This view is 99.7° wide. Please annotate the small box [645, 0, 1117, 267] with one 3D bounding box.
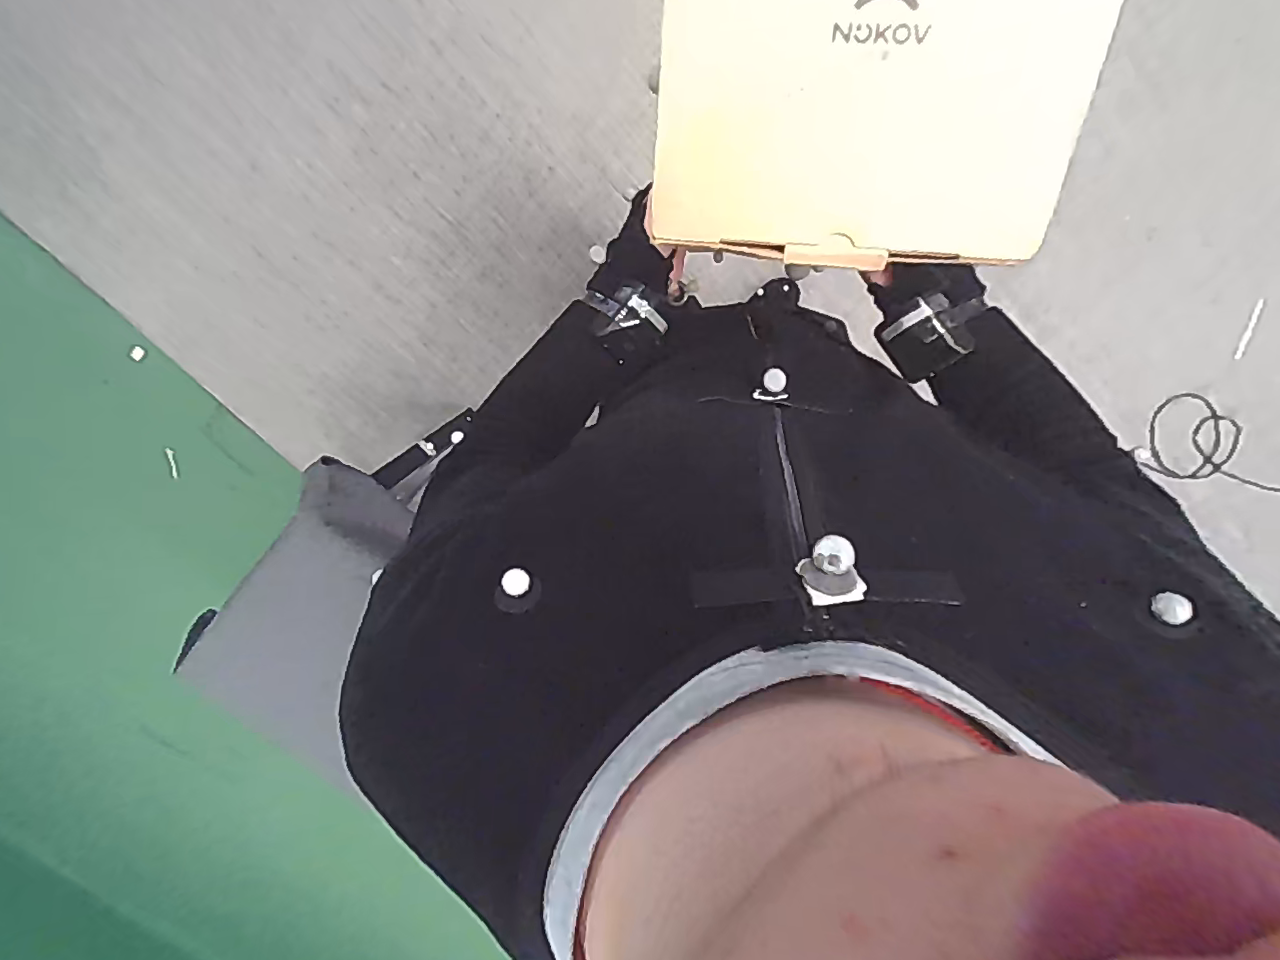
[{"bbox_3d":[0.097,-0.213,0.270,0.168,0.176,0.179,5,117,4],"label":"small box"}]
